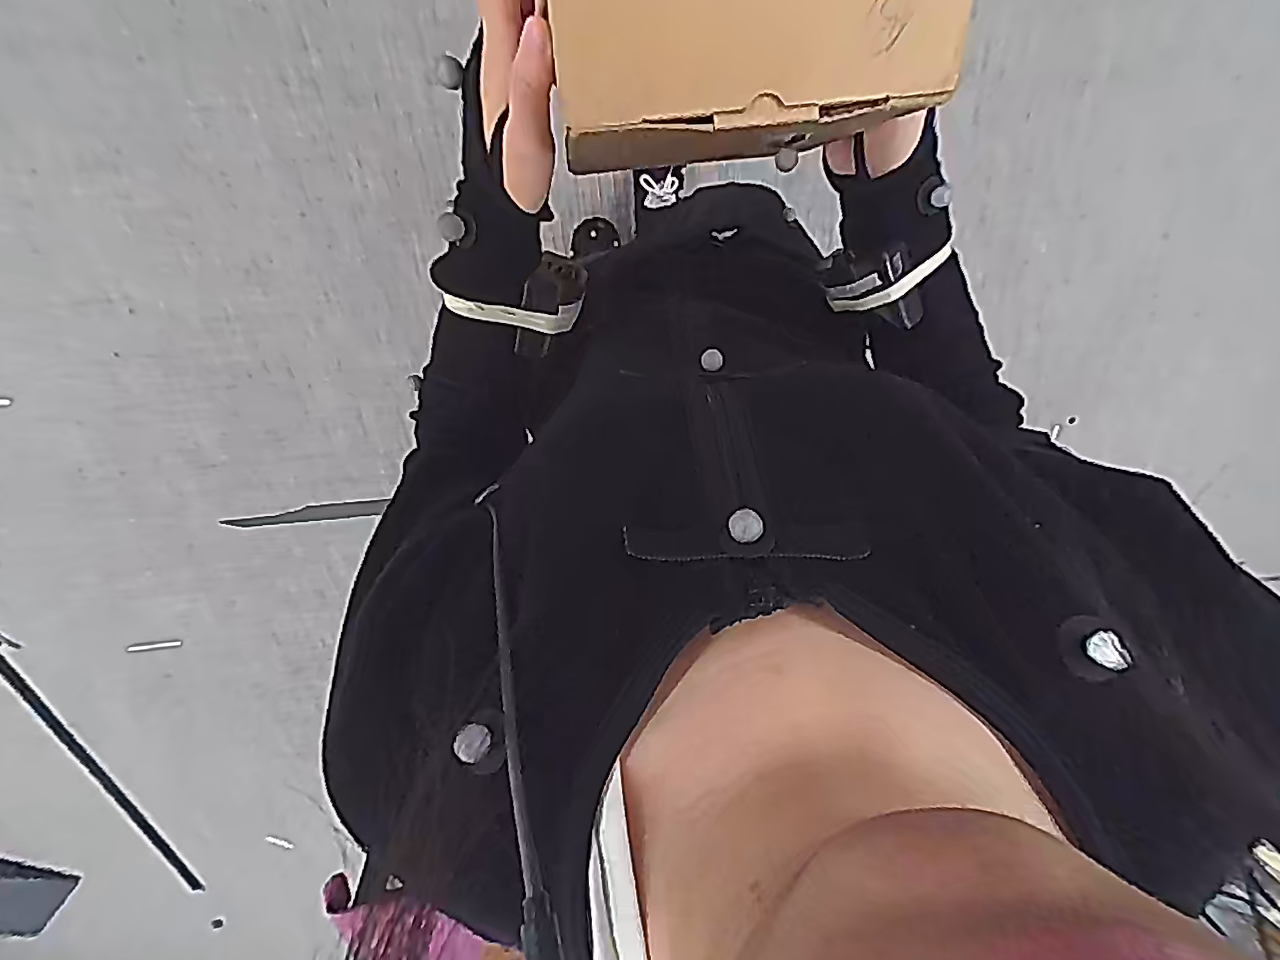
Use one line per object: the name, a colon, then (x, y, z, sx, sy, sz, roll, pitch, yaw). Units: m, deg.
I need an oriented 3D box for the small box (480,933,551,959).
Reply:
small box: (-0.299, 1.232, 1.298, 0.168, 0.176, 0.179, -1, 118, -8)

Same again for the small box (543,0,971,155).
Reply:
small box: (0.035, -0.264, 0.254, 0.168, 0.176, 0.179, -8, 115, -4)
